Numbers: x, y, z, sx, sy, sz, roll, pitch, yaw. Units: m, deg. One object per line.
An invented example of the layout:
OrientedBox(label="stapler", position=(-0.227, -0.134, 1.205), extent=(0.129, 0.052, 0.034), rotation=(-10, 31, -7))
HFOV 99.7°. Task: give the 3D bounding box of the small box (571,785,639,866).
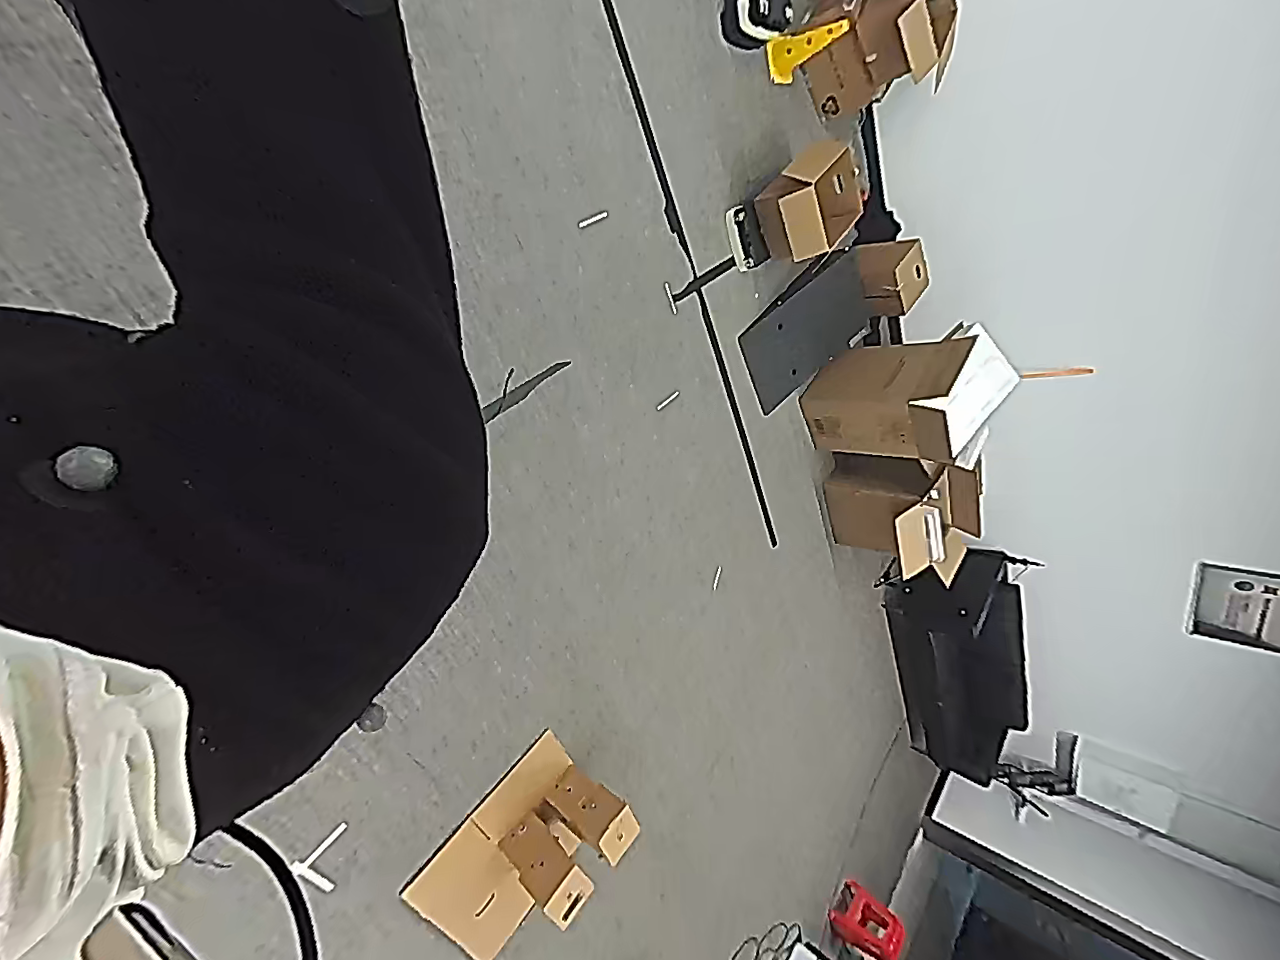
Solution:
OrientedBox(label="small box", position=(-0.135, 1.327, 2.091), extent=(0.168, 0.176, 0.179), rotation=(-39, 122, -34))

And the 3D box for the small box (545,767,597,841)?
OrientedBox(label="small box", position=(-0.259, 1.308, 2.199), extent=(0.168, 0.176, 0.179), rotation=(-40, 122, -34))

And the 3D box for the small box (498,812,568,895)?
OrientedBox(label="small box", position=(-0.411, 1.420, 2.069), extent=(0.168, 0.176, 0.179), rotation=(-38, 122, -34))
